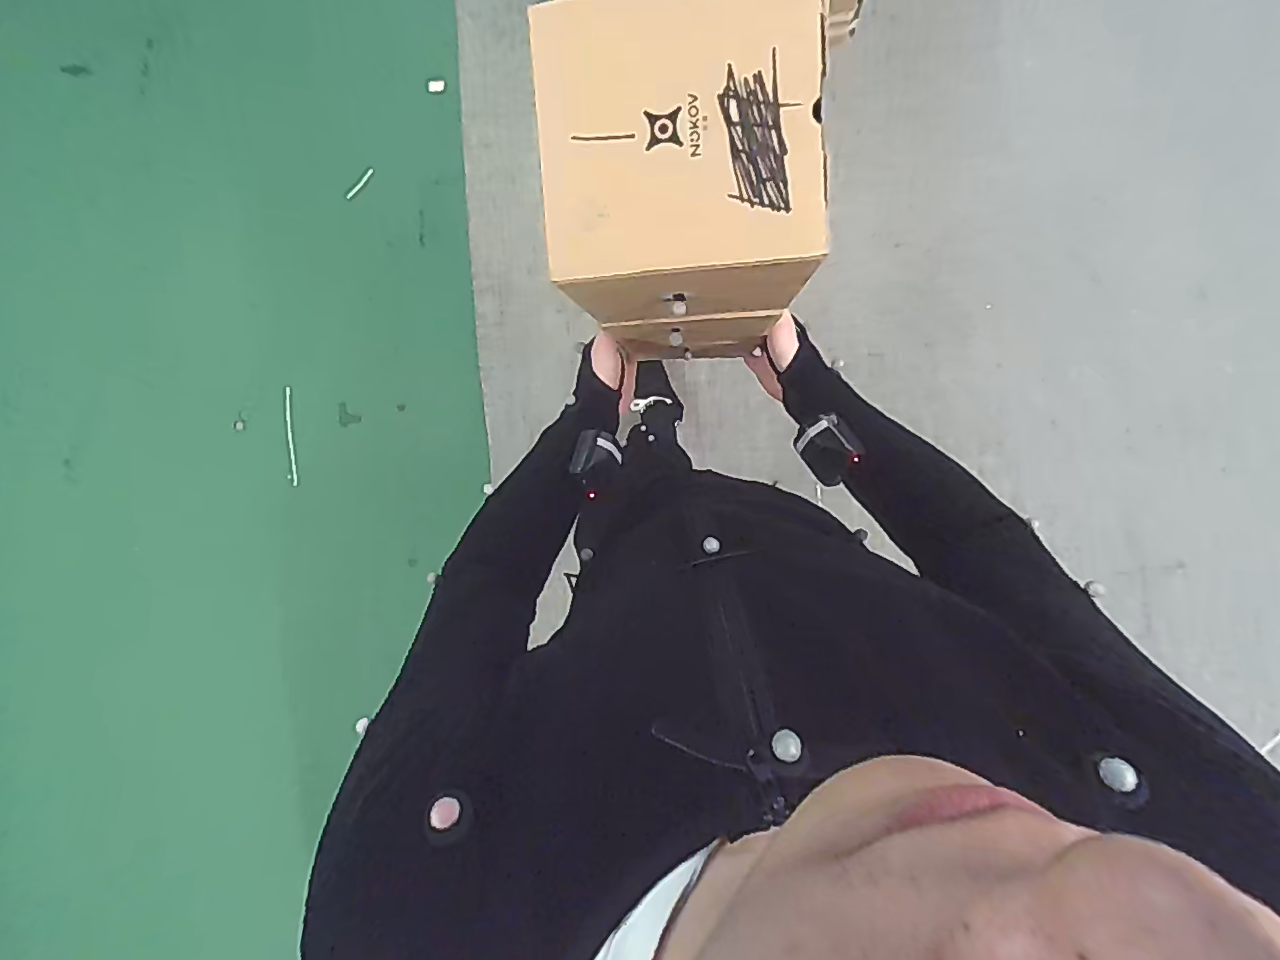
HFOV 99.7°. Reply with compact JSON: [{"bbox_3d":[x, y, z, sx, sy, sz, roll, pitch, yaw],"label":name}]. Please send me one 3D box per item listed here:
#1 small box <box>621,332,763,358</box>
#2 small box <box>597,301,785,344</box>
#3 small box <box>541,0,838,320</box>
[{"bbox_3d":[0.073,-0.256,0.729,0.179,0.176,0.168,1,97,6],"label":"small box"},{"bbox_3d":[0.055,-0.238,0.567,0.179,0.176,0.168,-1,97,7],"label":"small box"},{"bbox_3d":[0.038,-0.220,0.404,0.179,0.176,0.168,-2,97,7],"label":"small box"}]
